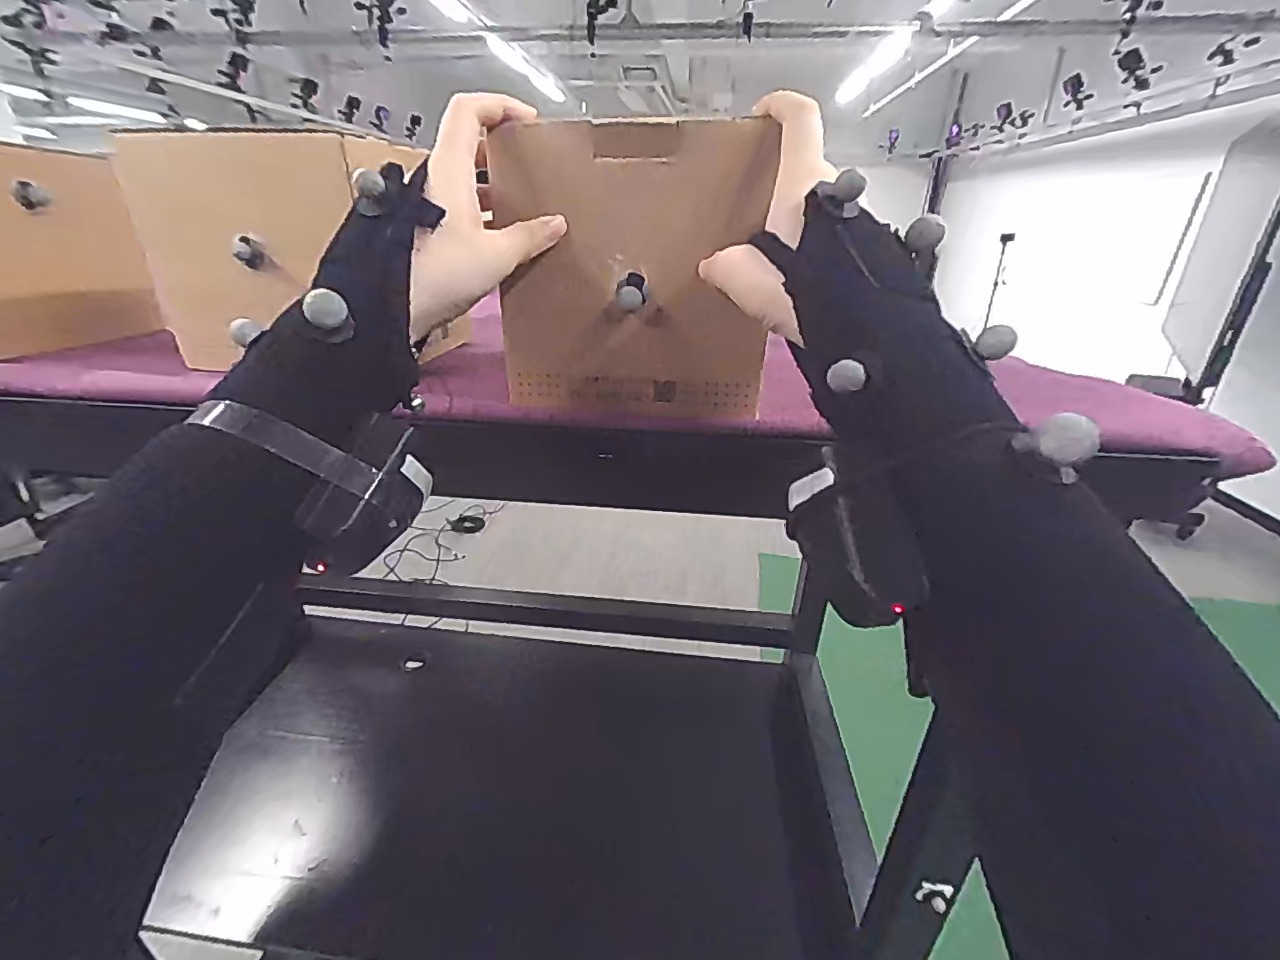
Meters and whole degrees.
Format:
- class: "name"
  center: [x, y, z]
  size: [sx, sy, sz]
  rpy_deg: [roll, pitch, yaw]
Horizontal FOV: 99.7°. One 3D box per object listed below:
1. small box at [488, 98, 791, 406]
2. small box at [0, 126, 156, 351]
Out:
- class: "small box"
  center: [0.009, -0.158, 0.391]
  size: [0.168, 0.176, 0.179]
  rpy_deg: [4, 27, 7]
- class: "small box"
  center: [-0.591, -0.218, 0.483]
  size: [0.168, 0.176, 0.179]
  rpy_deg: [3, 25, 2]
